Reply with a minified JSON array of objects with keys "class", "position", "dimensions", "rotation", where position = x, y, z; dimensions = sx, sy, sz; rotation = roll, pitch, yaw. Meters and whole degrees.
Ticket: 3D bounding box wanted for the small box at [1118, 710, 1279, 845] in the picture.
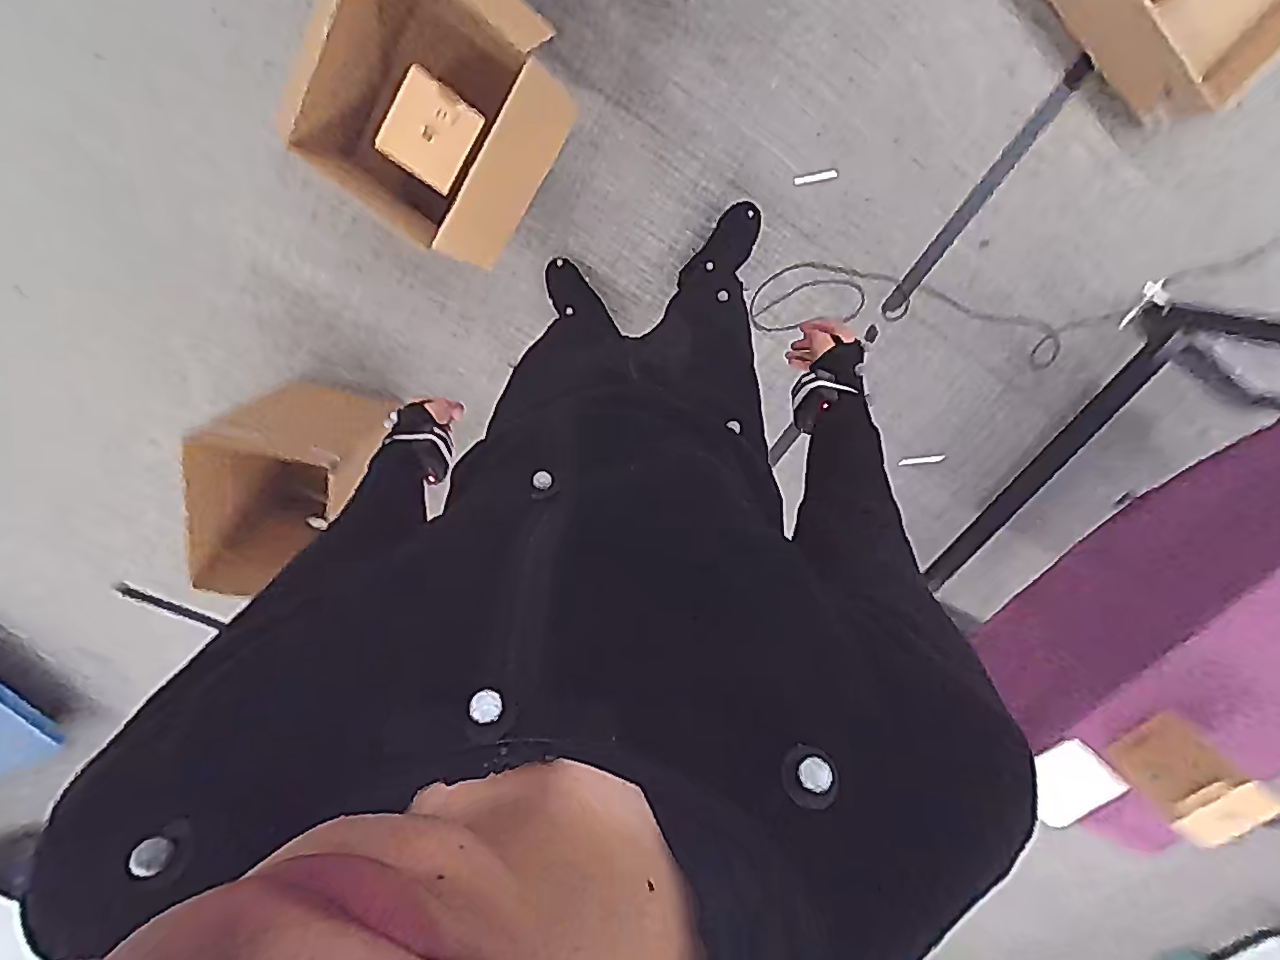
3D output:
[{"class":"small box","position":[1.187,0.622,1.147],"dimensions":[0.179,0.176,0.168],"rotation":[33,111,-17]}]
